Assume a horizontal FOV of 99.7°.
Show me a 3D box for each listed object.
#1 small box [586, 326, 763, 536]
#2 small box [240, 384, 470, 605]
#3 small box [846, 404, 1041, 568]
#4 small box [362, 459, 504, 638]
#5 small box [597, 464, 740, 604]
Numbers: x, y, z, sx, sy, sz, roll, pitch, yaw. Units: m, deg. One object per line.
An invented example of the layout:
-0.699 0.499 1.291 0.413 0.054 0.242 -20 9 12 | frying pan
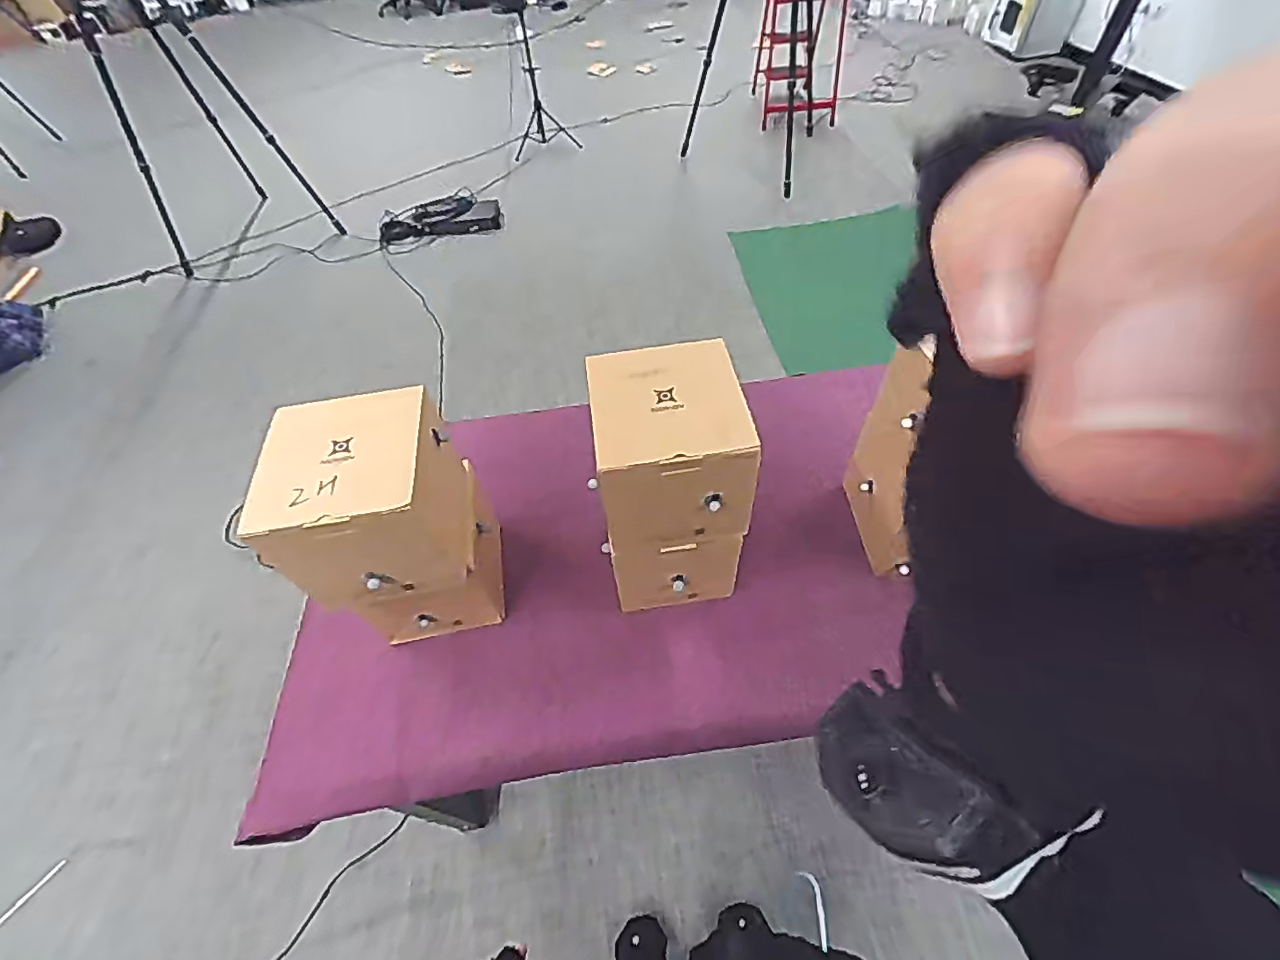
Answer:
0.035 -0.048 0.628 0.168 0.176 0.179 -8 52 -2 | small box
-0.303 0.019 0.621 0.168 0.176 0.179 -10 54 -3 | small box
0.415 0.016 0.777 0.168 0.176 0.179 -4 52 1 | small box
-0.296 0.099 0.766 0.168 0.176 0.179 -11 54 -5 | small box
0.039 0.062 0.773 0.168 0.176 0.179 -11 52 -2 | small box
